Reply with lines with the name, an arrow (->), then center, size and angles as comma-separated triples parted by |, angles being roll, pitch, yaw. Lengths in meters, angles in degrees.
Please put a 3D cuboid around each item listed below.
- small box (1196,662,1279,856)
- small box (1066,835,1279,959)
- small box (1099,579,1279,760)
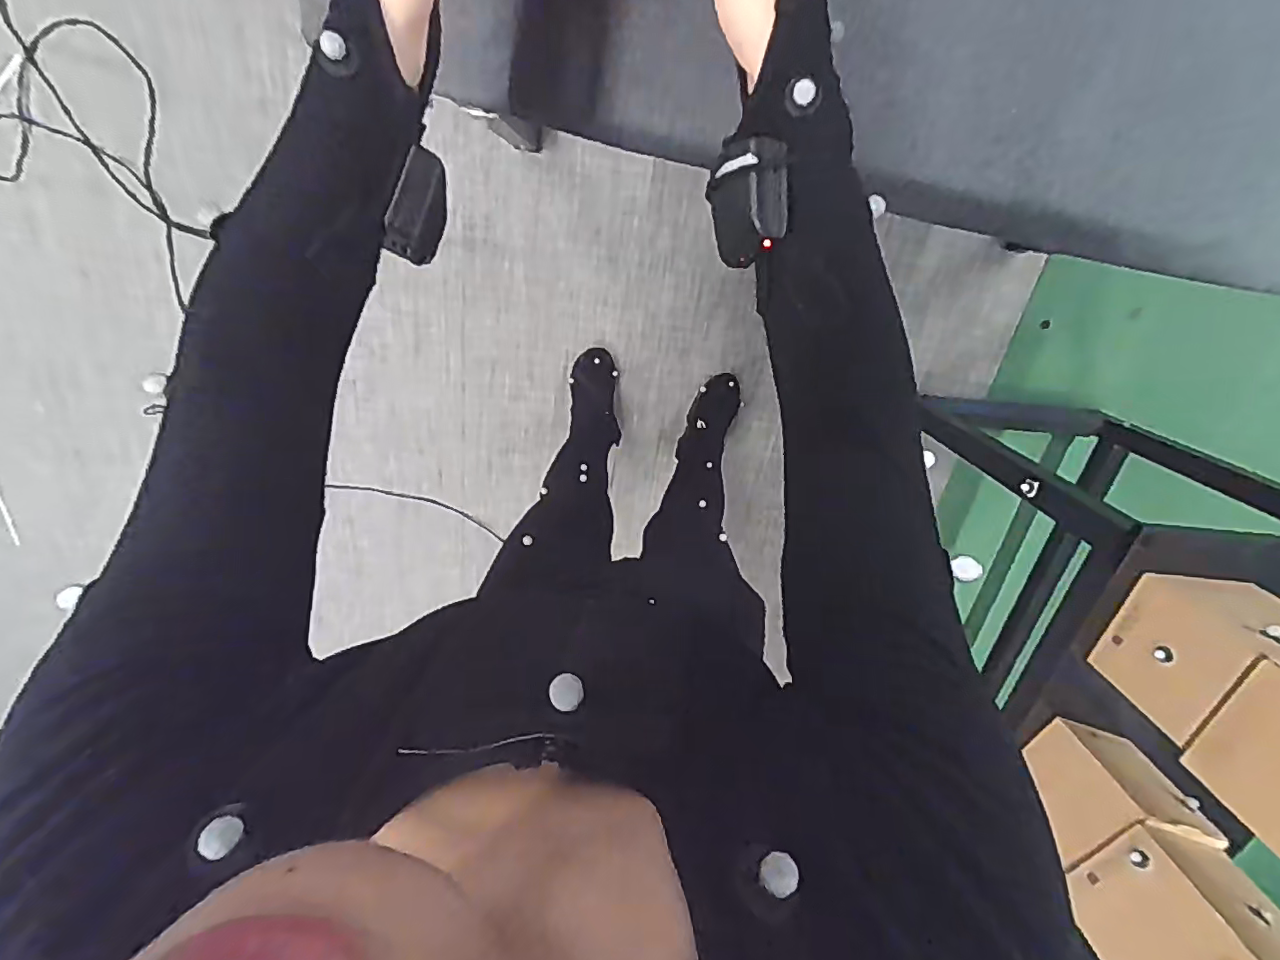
small box -> 0.765, 0.321, 0.568 | 0.168, 0.176, 0.179 | 6, 115, -5
small box -> 0.715, 0.595, 0.693 | 0.179, 0.176, 0.168 | 23, 113, -13
small box -> 0.776, 0.248, 0.713 | 0.179, 0.176, 0.168 | 6, 116, -5
